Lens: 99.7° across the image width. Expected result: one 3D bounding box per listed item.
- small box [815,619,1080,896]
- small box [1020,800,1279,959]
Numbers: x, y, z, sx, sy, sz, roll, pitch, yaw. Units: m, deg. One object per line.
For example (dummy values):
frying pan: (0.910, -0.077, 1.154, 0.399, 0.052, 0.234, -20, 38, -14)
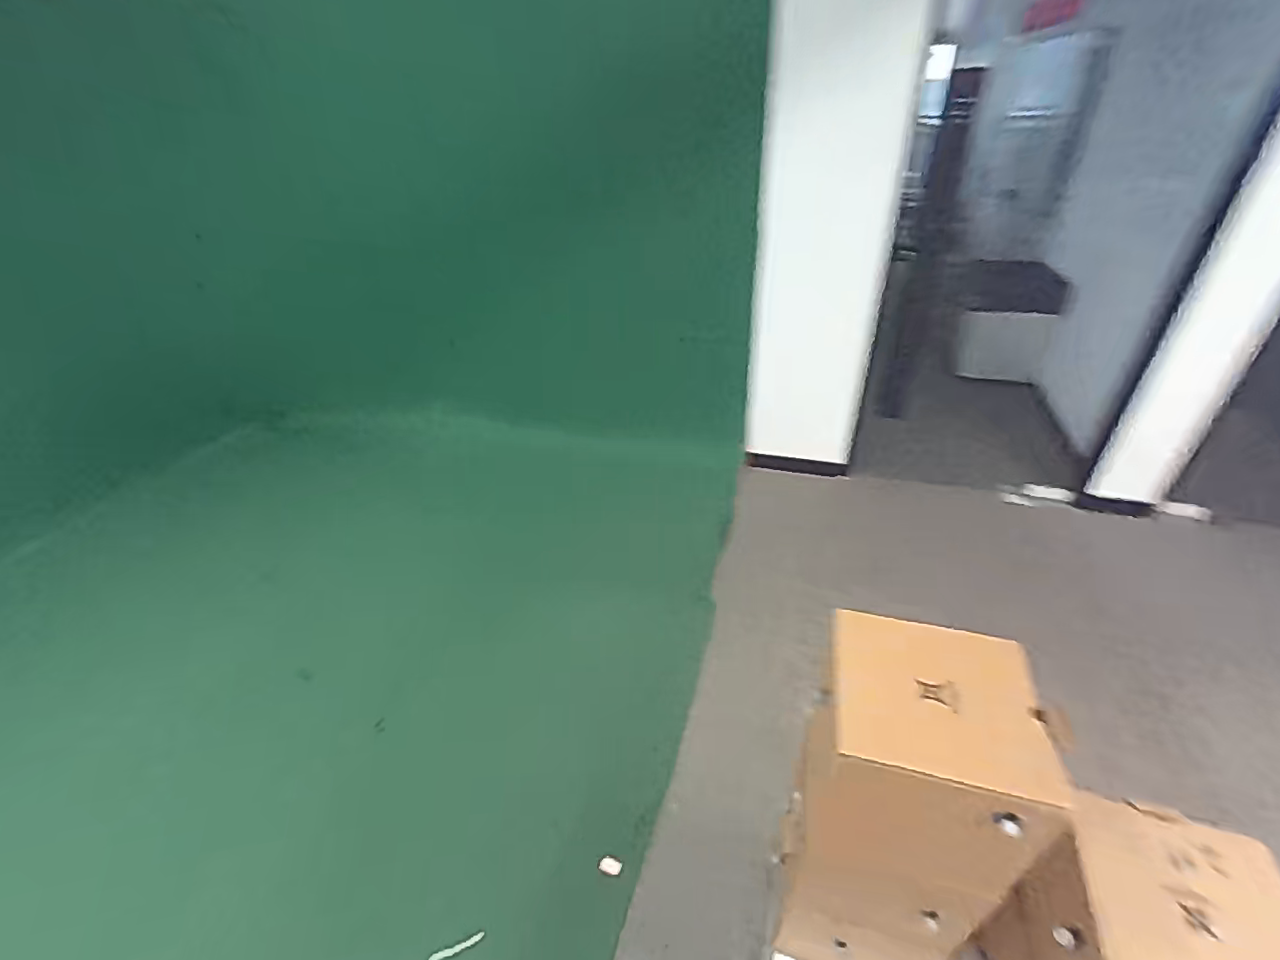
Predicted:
small box: (0.275, 0.270, 0.536, 0.179, 0.176, 0.168, 9, 36, 13)
small box: (0.500, 0.461, 0.524, 0.168, 0.176, 0.179, 10, 37, 19)
